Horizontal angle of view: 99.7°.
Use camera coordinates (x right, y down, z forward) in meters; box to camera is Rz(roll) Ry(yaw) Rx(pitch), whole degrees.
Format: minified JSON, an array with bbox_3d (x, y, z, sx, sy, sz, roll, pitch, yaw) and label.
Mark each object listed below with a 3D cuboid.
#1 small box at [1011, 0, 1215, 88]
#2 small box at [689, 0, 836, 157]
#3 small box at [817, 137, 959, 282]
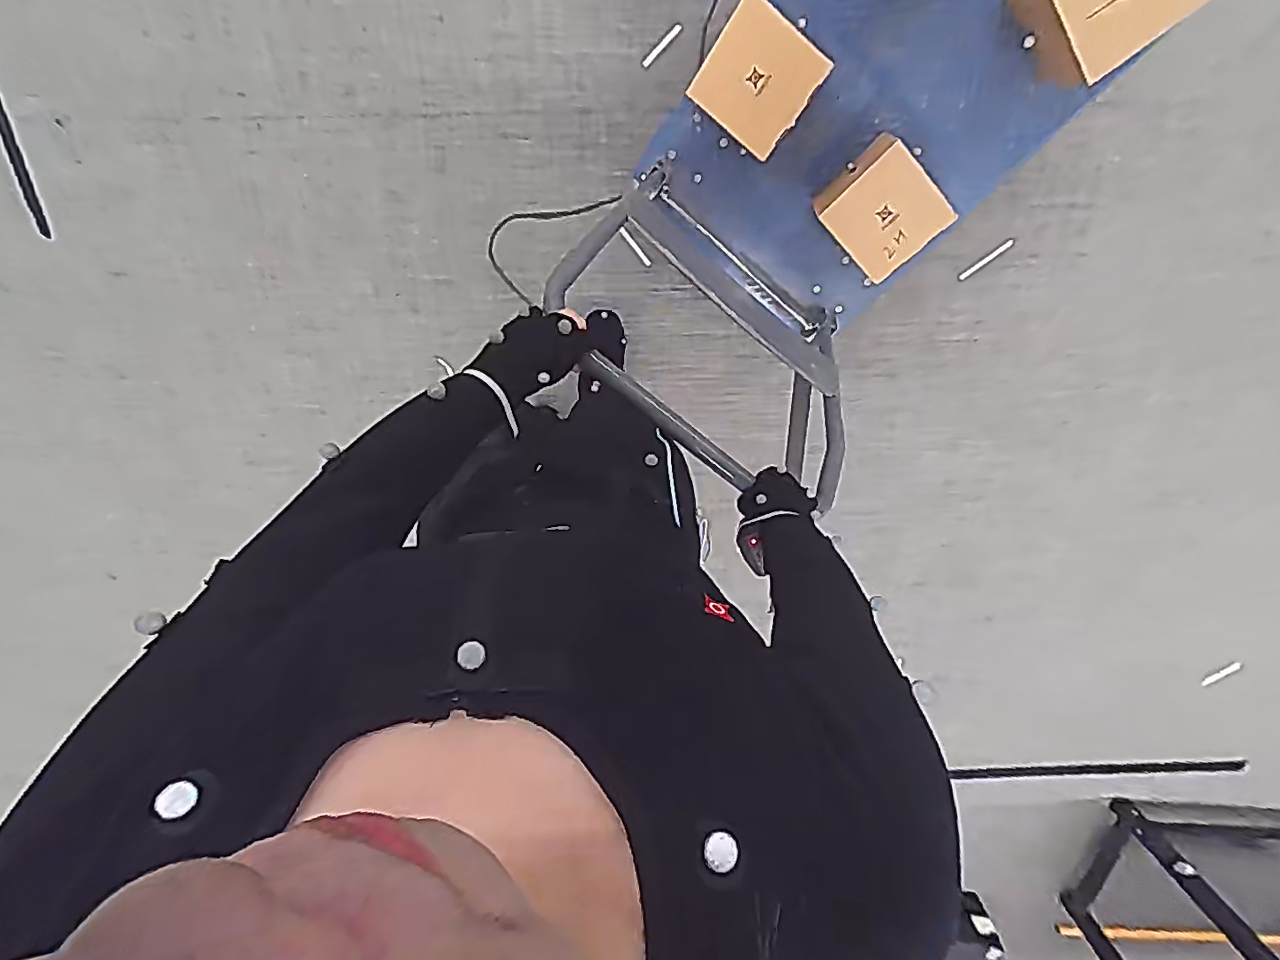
[{"bbox_3d":[0.699,-0.727,0.801,0.179,0.176,0.168,-31,113,31],"label":"small box"},{"bbox_3d":[0.209,-0.699,0.940,0.179,0.176,0.168,34,126,-13],"label":"small box"},{"bbox_3d":[0.453,-0.511,1.017,0.179,0.176,0.168,41,125,-16],"label":"small box"}]
